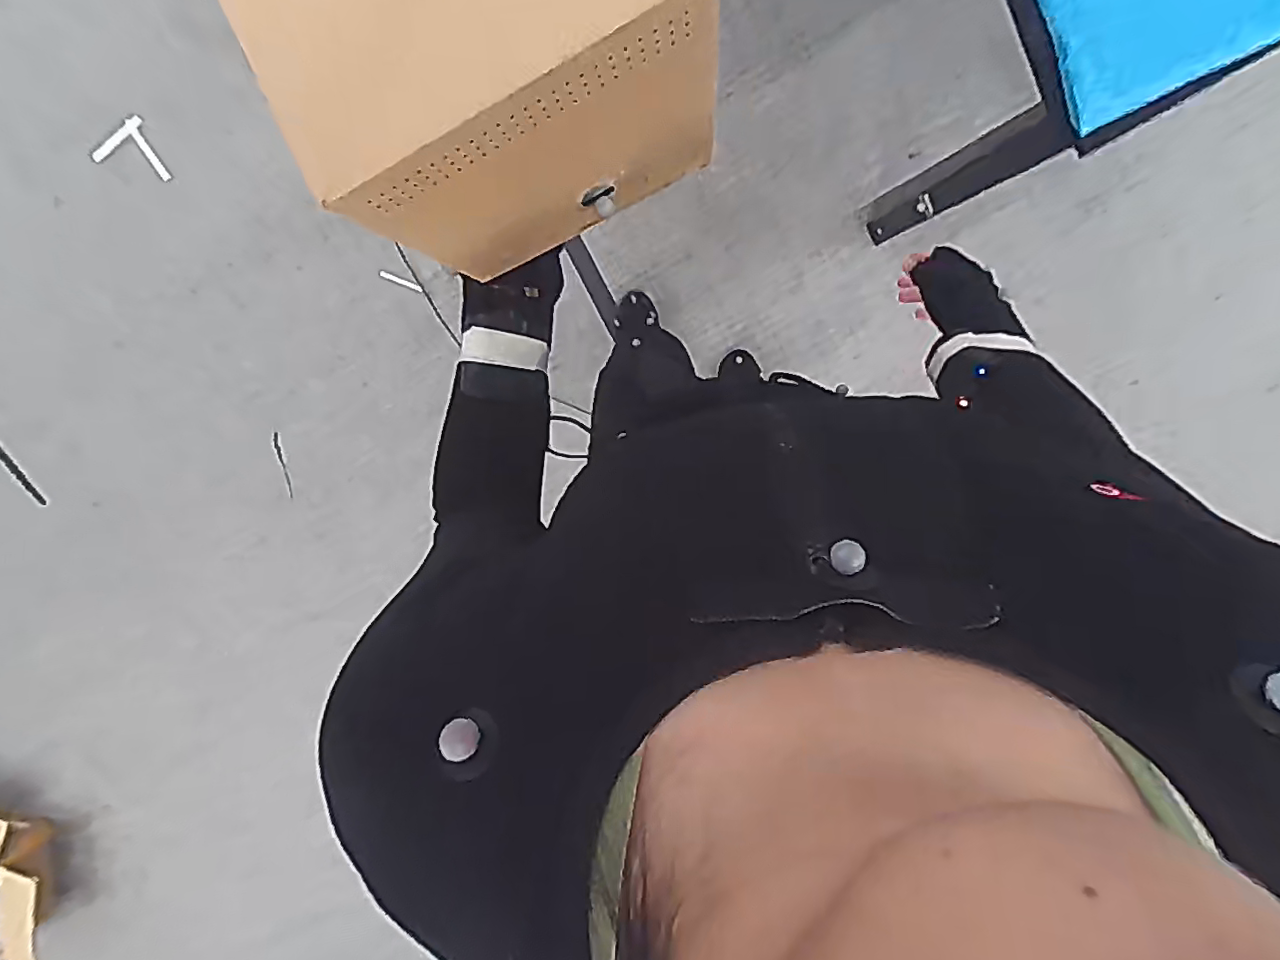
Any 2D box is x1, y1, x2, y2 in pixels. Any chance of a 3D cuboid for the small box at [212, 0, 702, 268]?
[{"bbox_3d":[-0.080,-0.237,0.274,0.179,0.176,0.168,-23,96,10],"label":"small box"}]
